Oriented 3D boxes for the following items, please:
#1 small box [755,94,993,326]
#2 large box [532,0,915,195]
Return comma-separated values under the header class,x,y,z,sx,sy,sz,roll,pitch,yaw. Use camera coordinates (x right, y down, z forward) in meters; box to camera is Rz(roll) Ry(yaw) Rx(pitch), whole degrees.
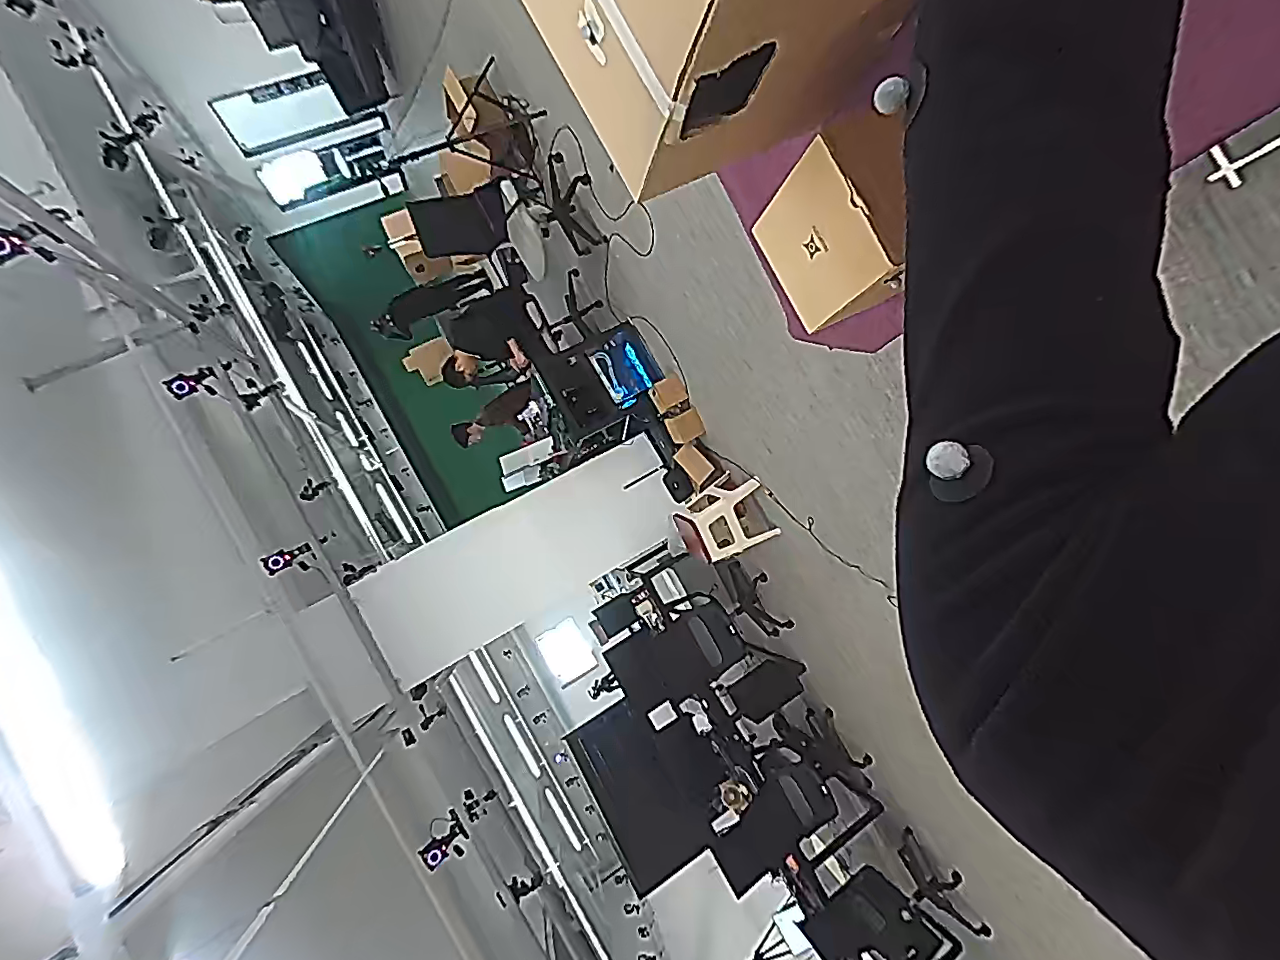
class,x,y,z,sx,sy,sz,roll,pitch,yaw
small box,0.280,-0.324,0.670,0.168,0.176,0.179,61,166,2
large box,0.070,-0.612,0.560,0.408,0.320,0.320,59,167,-1
